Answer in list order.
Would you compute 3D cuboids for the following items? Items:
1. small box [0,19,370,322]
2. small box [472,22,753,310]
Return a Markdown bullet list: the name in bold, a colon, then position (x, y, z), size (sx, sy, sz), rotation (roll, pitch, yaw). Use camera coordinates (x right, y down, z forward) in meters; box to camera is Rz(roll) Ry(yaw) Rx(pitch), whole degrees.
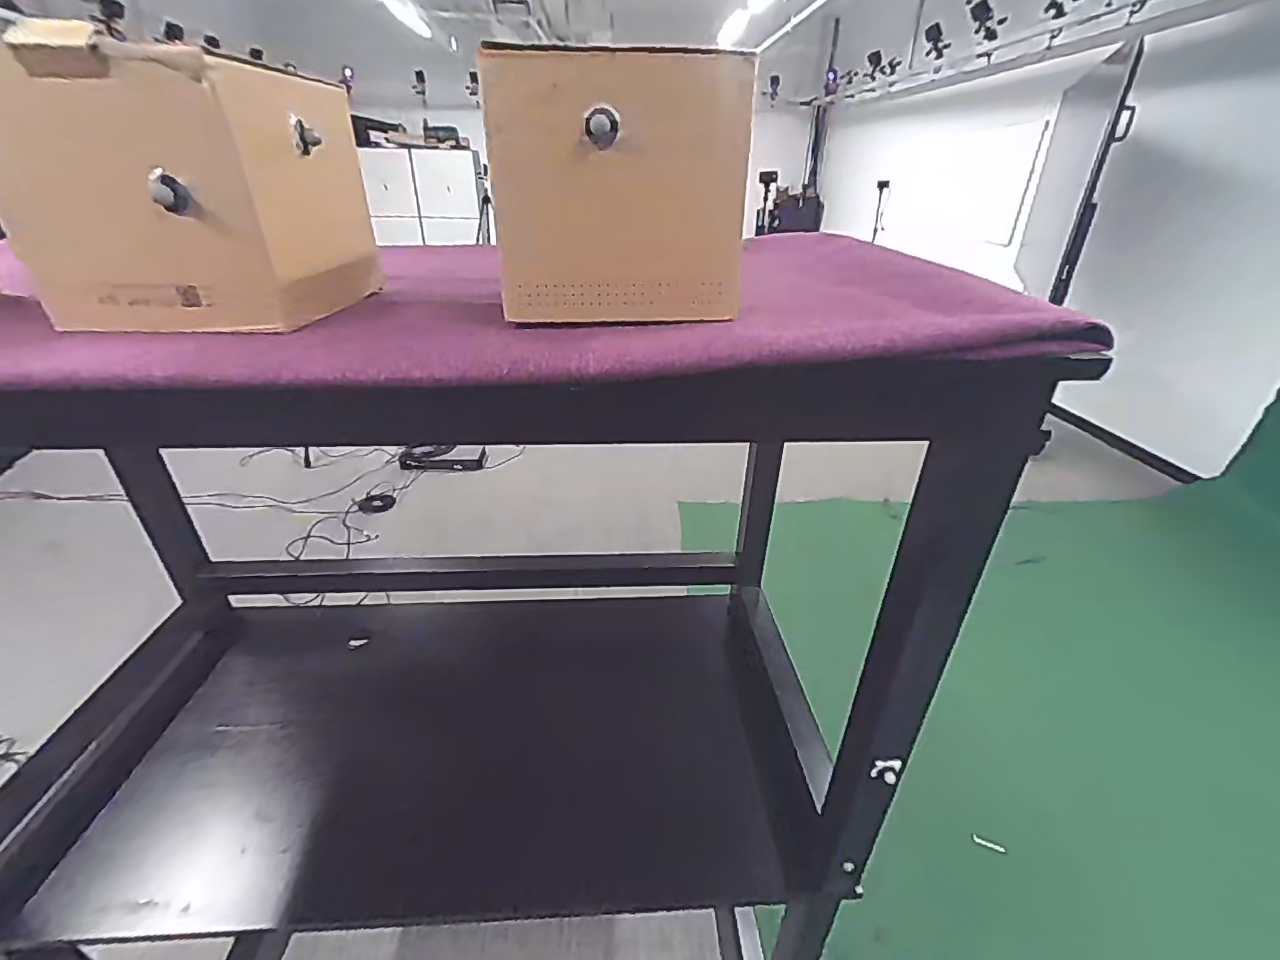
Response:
- **small box**: position (-0.330, -0.221, 0.410), size (0.168, 0.176, 0.179), rotation (1, 29, -2)
- **small box**: position (-0.019, -0.234, 0.433), size (0.179, 0.176, 0.168), rotation (-1, 27, -3)
